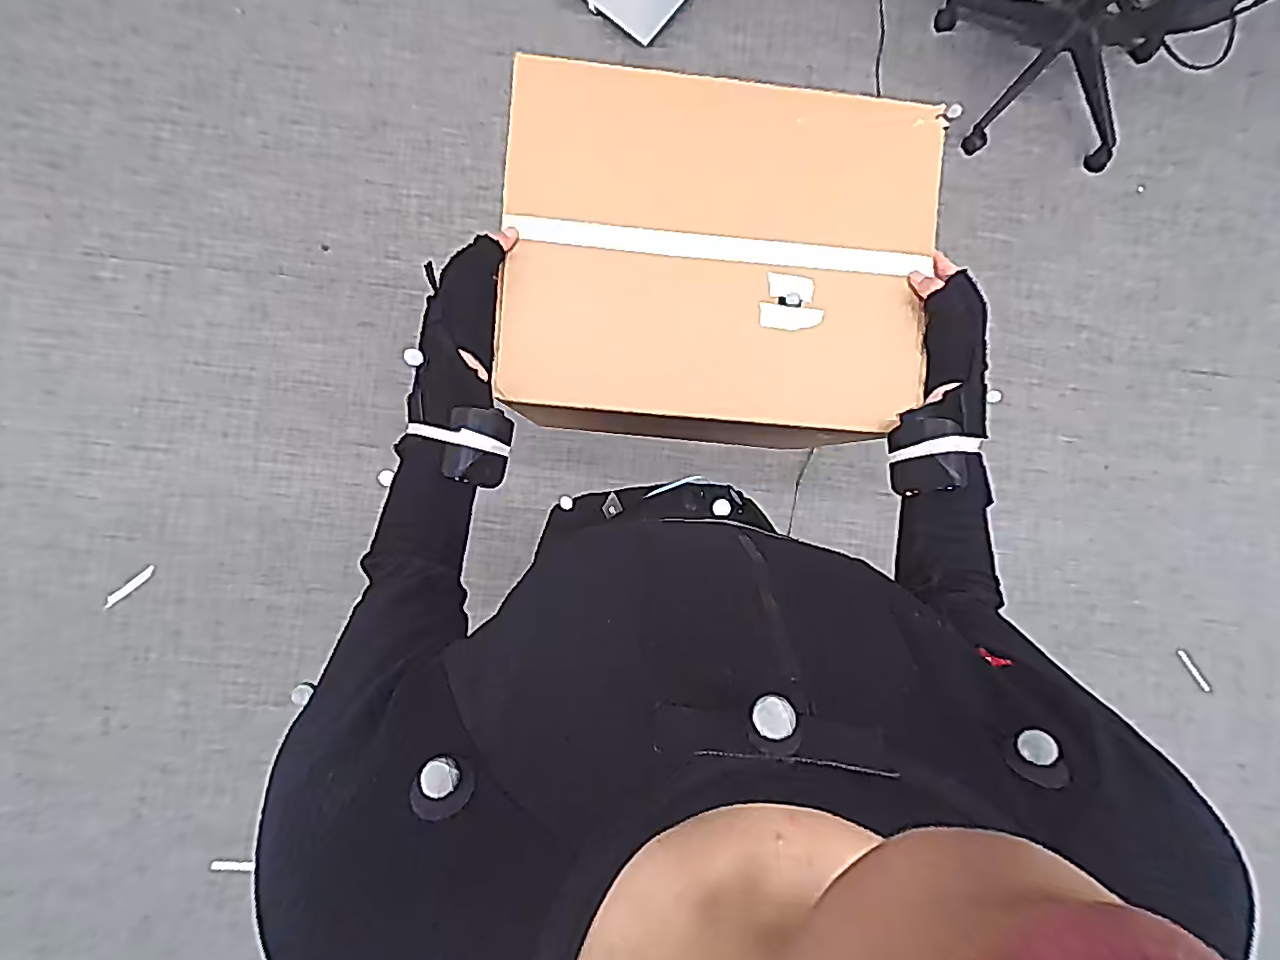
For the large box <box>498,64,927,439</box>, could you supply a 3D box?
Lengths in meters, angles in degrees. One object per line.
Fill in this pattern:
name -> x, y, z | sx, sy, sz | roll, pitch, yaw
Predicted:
large box -> 0.061, -0.224, 0.664 | 0.408, 0.320, 0.320 | 5, 92, -4
